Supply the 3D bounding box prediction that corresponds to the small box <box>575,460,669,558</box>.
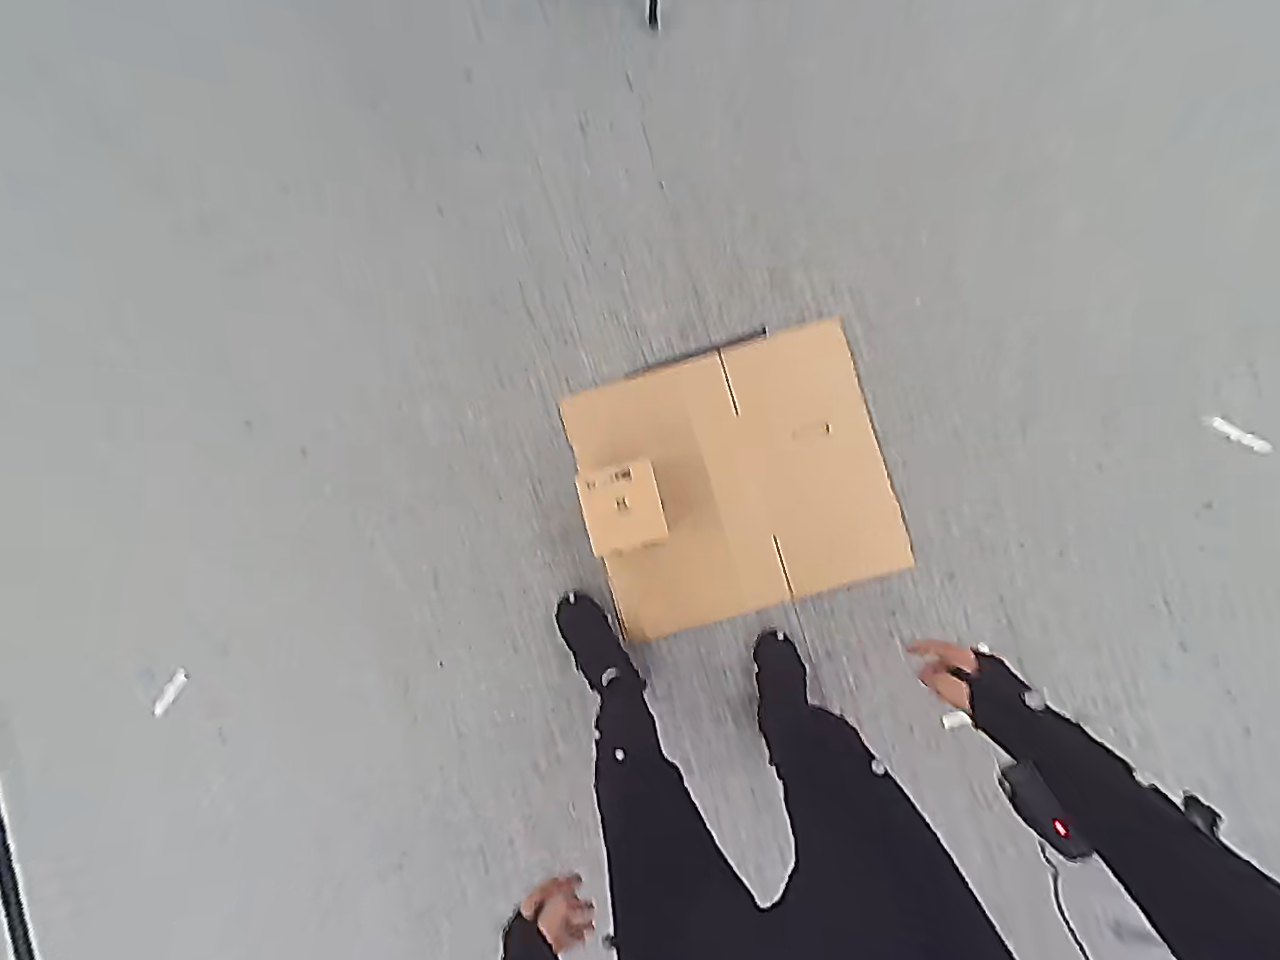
[{"bbox_3d":[-0.033,0.060,1.196,0.168,0.176,0.179,-14,88,3],"label":"small box"}]
